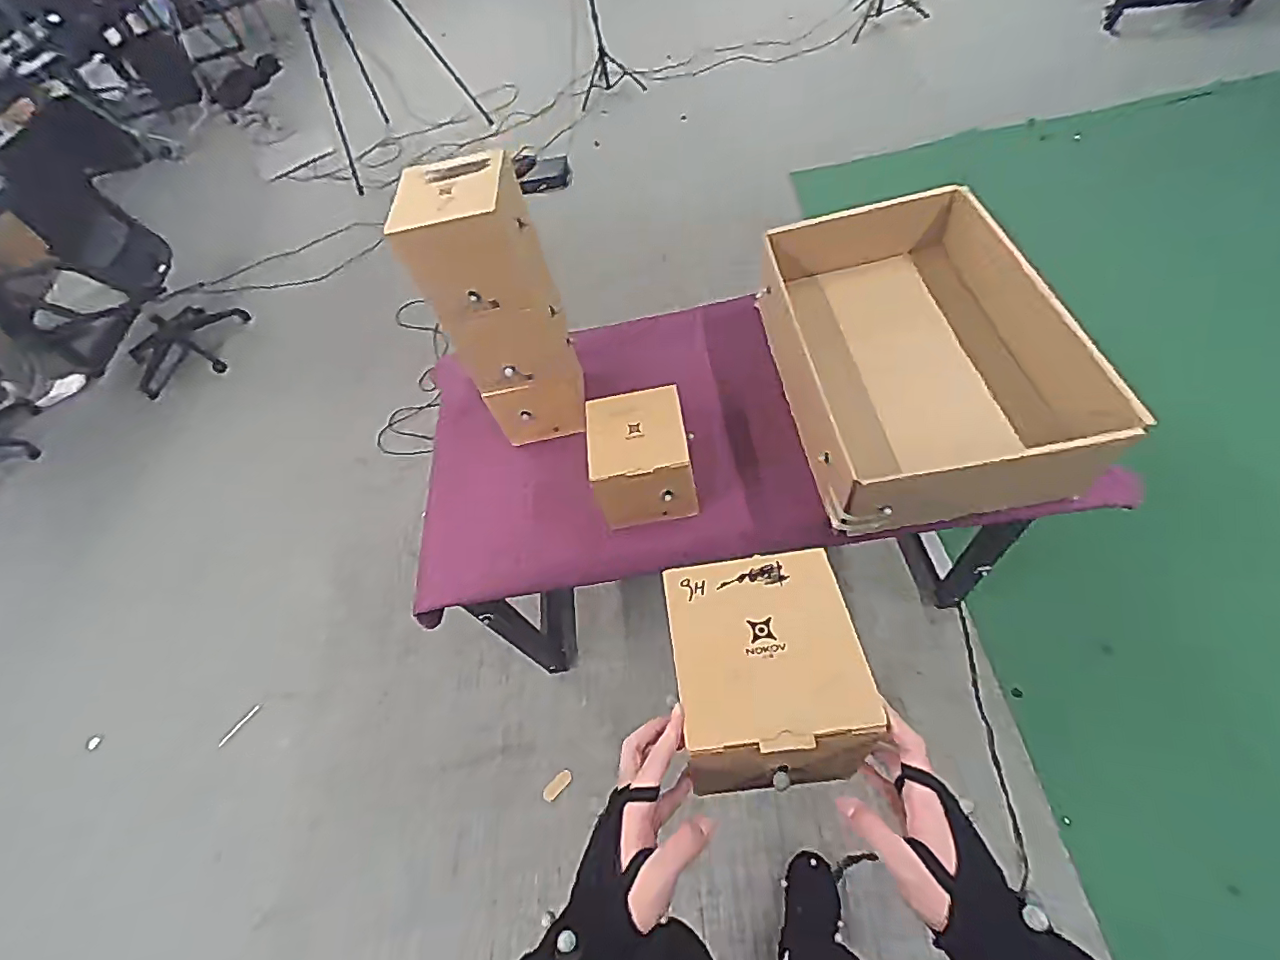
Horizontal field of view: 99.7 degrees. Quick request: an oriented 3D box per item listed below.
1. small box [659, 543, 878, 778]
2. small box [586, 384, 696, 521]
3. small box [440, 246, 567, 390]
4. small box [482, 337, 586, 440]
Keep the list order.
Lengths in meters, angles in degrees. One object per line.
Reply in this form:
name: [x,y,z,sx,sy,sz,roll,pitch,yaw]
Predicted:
small box: [0.116,0.190,0.550,0.168,0.176,0.179,-8,50,2]
small box: [0.005,-0.040,0.970,0.168,0.176,0.179,-9,55,5]
small box: [-0.237,-0.292,0.987,0.168,0.176,0.179,-8,57,7]
small box: [-0.214,-0.200,1.122,0.168,0.176,0.179,-12,55,5]
